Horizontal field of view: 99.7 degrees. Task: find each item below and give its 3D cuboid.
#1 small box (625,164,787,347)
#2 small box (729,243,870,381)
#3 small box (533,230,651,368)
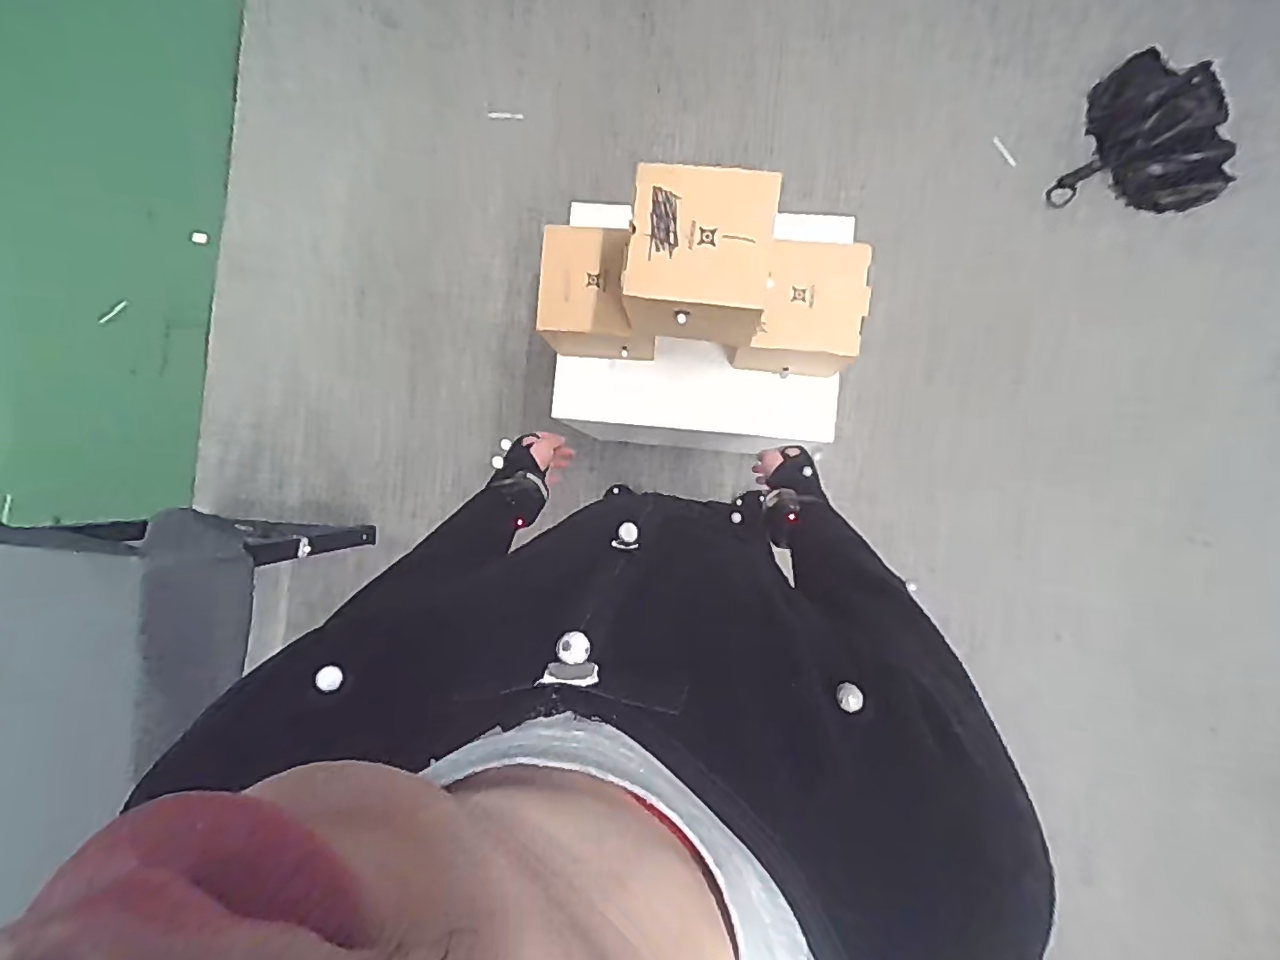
[{"bbox_3d":[0.082,-0.282,0.712,0.179,0.176,0.168,6,89,3],"label":"small box"},{"bbox_3d":[0.245,-0.260,0.868,0.179,0.176,0.168,5,89,4],"label":"small box"},{"bbox_3d":[-0.066,-0.285,0.883,0.179,0.176,0.168,3,87,3],"label":"small box"}]
